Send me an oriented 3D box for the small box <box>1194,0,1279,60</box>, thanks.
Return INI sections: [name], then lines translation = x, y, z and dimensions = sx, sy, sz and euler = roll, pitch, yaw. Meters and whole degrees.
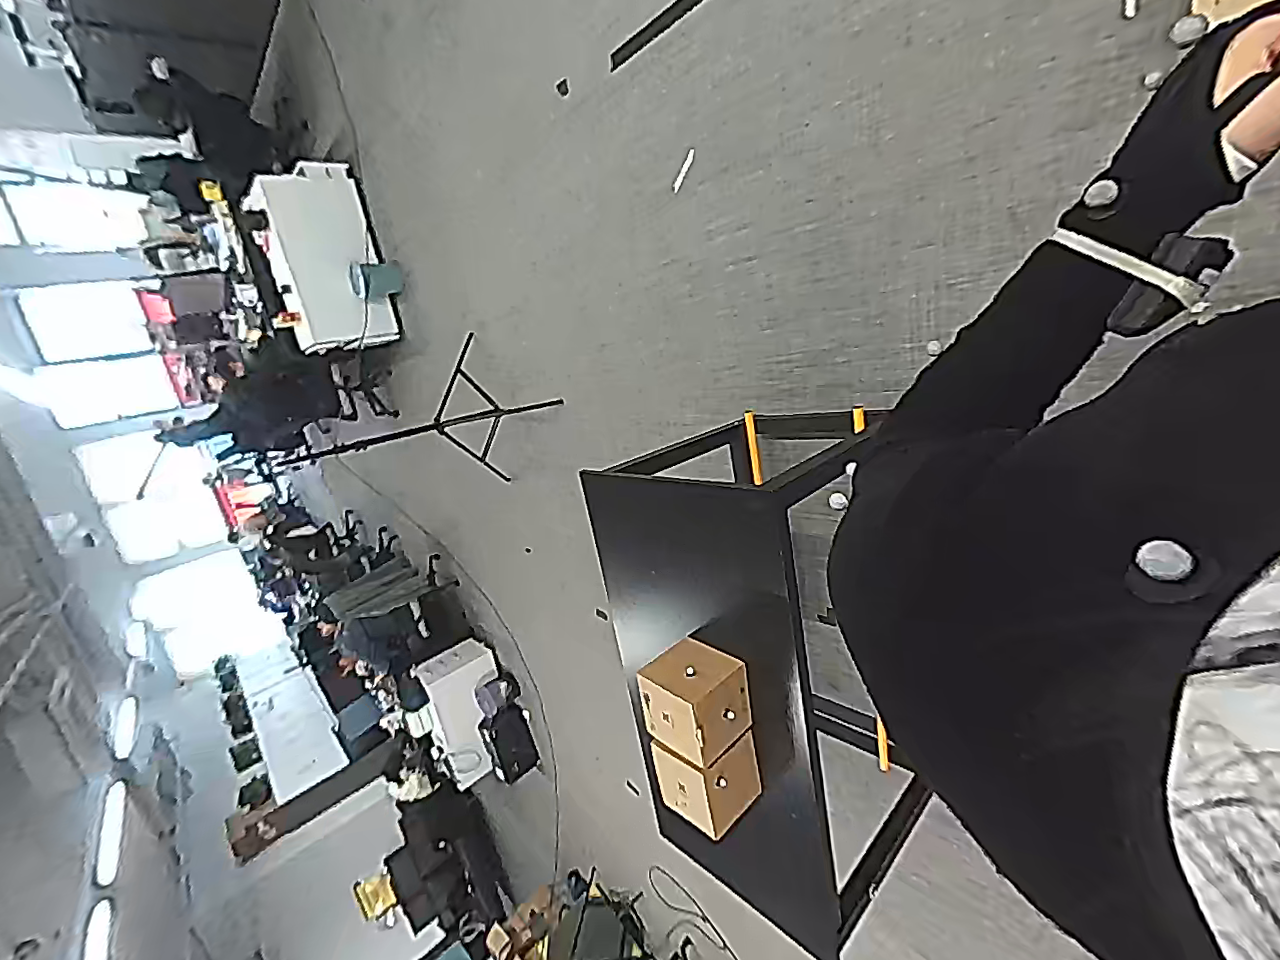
[small box]
translation = 0.943, -0.756, 0.789
dimensions = 0.179, 0.176, 0.168
euler = 2, 110, 49
